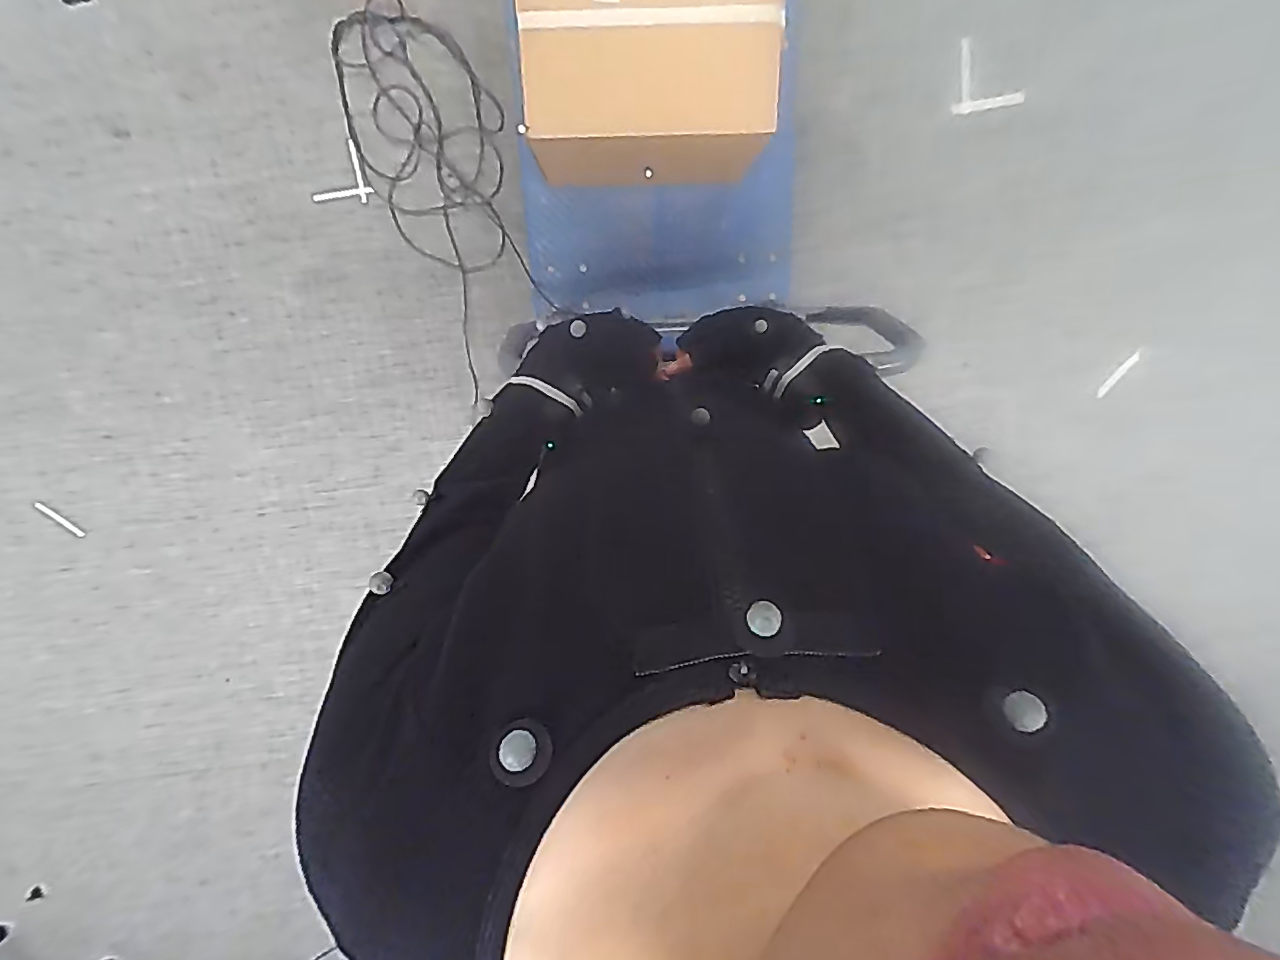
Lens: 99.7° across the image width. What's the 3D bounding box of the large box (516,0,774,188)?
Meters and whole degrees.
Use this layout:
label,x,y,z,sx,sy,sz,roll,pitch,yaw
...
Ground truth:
label,x,y,z,sx,sy,sz,roll,pitch,yaw
large box,0.009,-0.739,0.976,0.408,0.320,0.320,-2,105,0
